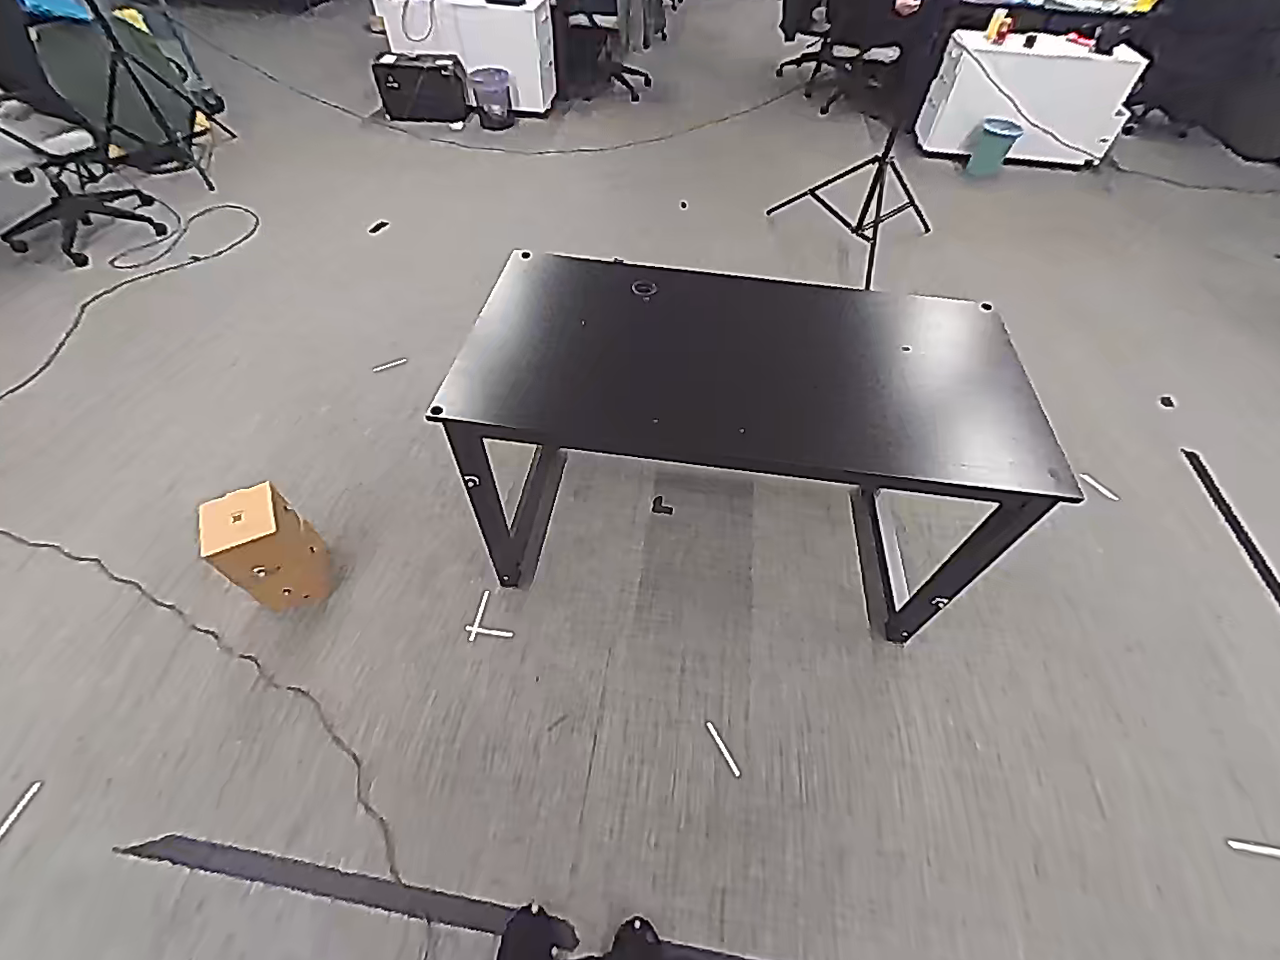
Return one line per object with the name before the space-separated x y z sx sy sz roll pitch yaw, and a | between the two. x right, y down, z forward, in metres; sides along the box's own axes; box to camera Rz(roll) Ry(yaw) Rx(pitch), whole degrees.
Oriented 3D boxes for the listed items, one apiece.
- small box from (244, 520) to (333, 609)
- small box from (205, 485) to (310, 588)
small box | -1.000 0.248 1.546 0.168 0.176 0.179 -17 54 -17
small box | -0.997 0.150 1.415 0.168 0.176 0.179 -23 57 -17
